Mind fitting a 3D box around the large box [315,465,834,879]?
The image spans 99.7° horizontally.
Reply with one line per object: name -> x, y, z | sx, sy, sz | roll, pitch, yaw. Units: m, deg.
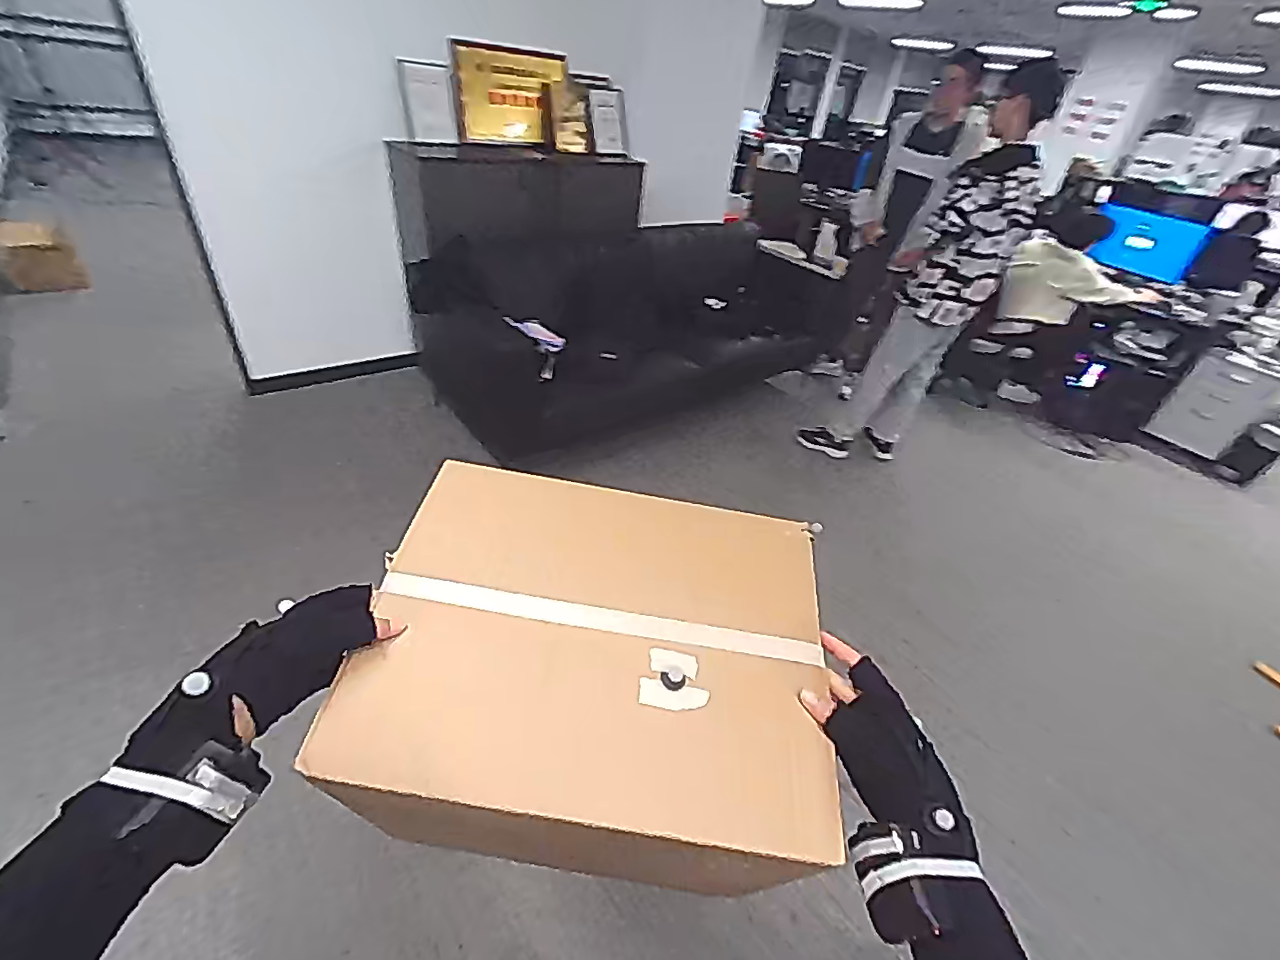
large box -> -0.054, 0.224, 0.612 | 0.408, 0.320, 0.320 | 10, 49, -2
